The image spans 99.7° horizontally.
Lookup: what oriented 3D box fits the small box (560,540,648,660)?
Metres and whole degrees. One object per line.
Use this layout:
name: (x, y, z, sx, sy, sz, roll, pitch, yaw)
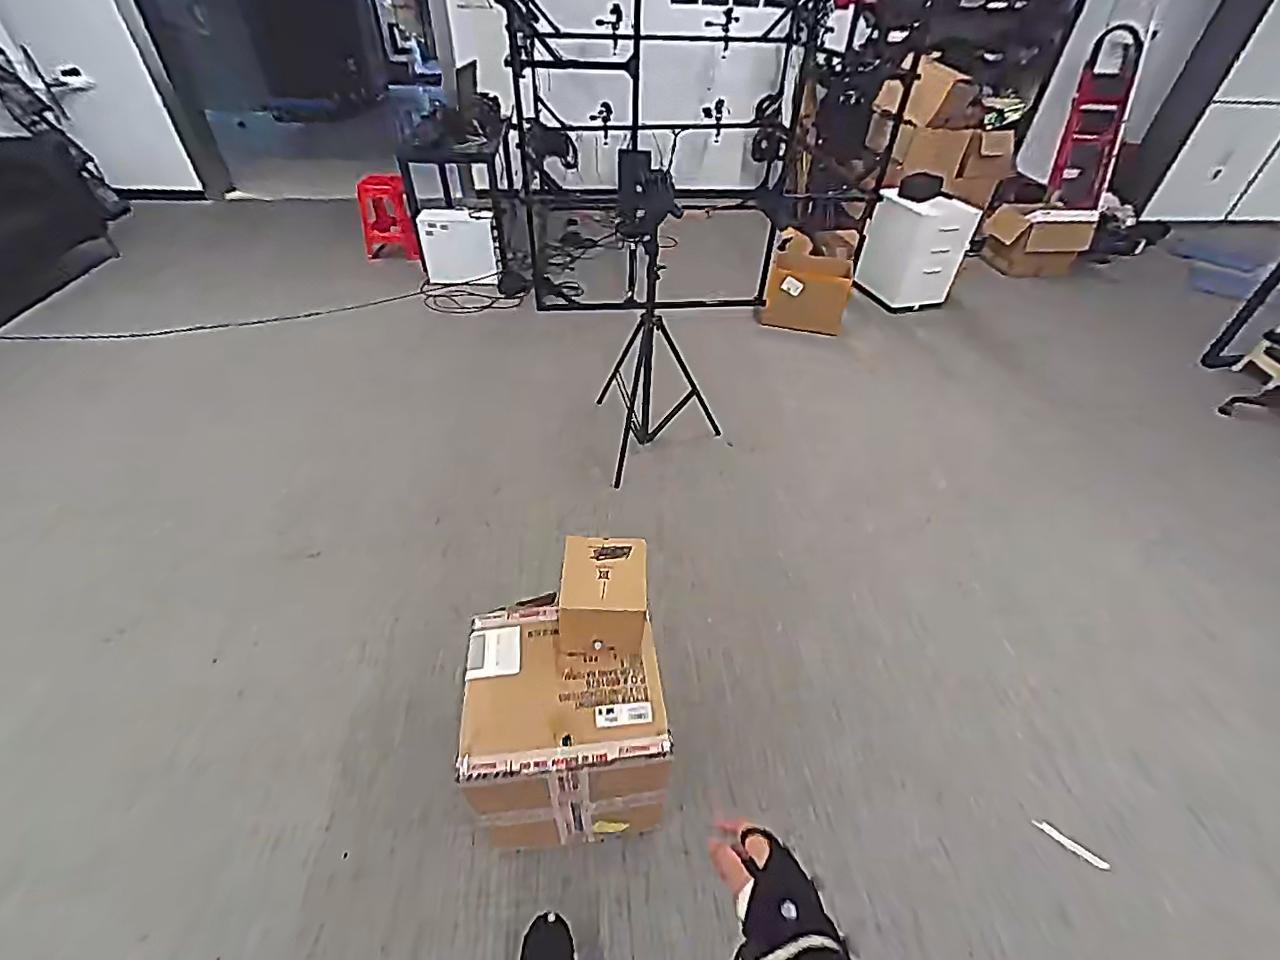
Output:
small box: (-0.073, 0.244, 1.107, 0.168, 0.176, 0.179, 3, 45, -3)
